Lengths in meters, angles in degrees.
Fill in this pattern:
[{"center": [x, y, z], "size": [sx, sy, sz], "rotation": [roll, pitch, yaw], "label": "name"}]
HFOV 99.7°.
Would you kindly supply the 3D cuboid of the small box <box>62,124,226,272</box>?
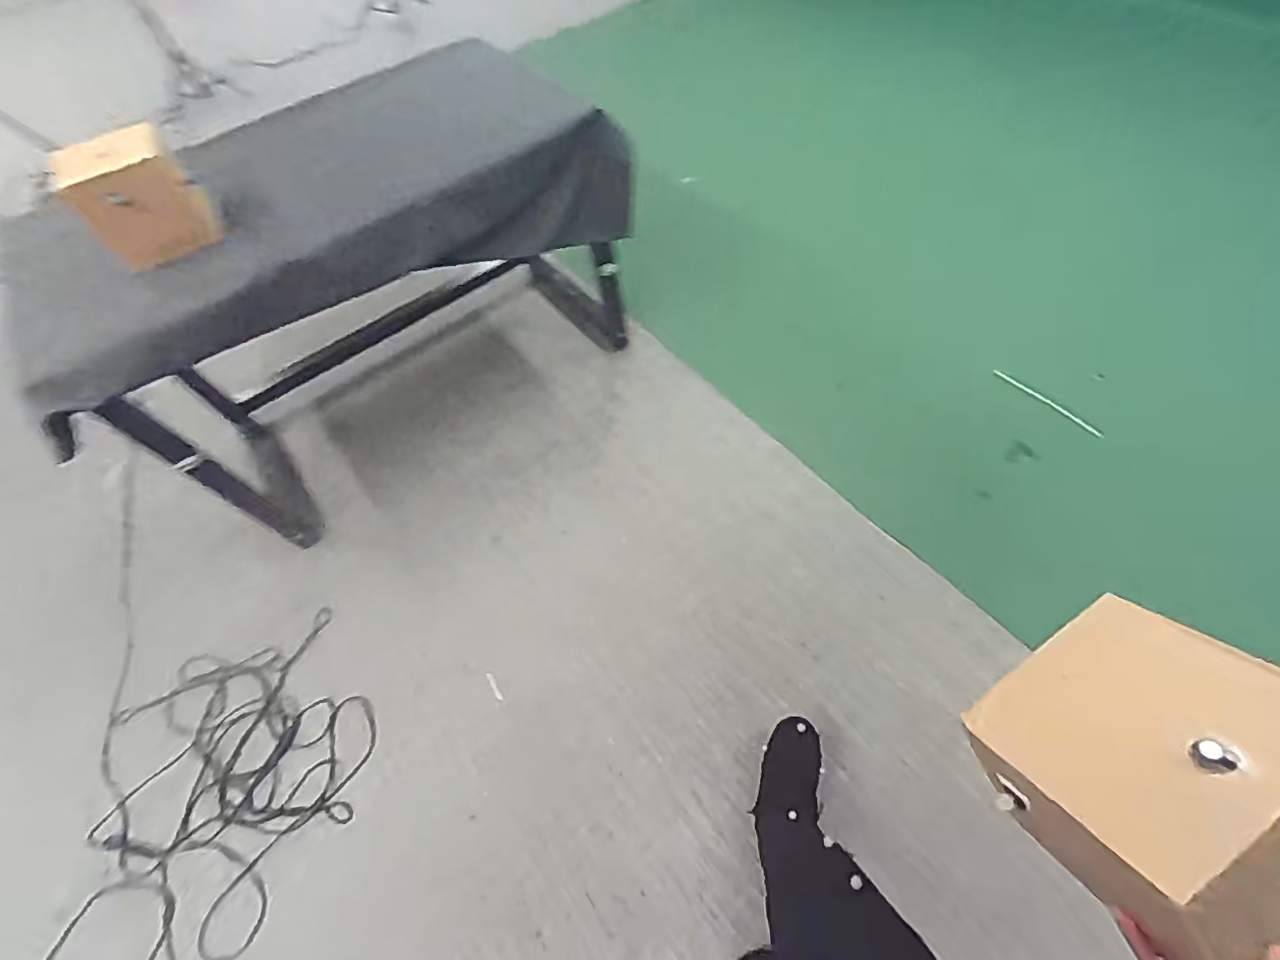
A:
[{"center": [-0.937, -0.538, 1.040], "size": [0.179, 0.176, 0.168], "rotation": [-28, 59, -12], "label": "small box"}]
